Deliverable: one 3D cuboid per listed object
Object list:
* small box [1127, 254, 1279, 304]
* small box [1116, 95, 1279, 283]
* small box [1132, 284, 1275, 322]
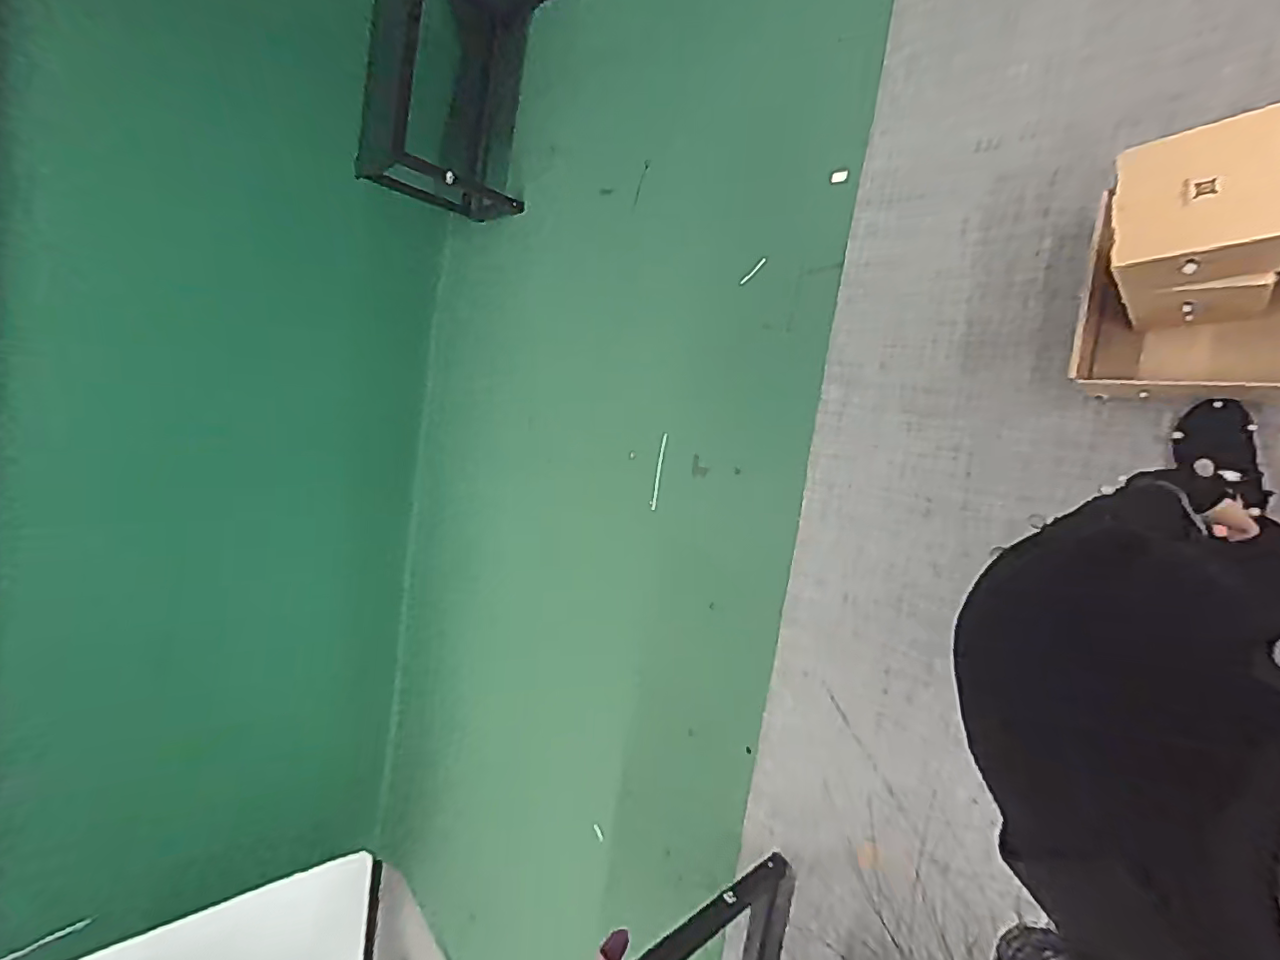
[{"bbox_3d":[0.922,-0.390,0.874,0.168,0.176,0.179,13,99,46],"label":"small box"},{"bbox_3d":[0.802,-0.396,0.765,0.179,0.176,0.168,2,92,47],"label":"small box"},{"bbox_3d":[1.036,-0.397,0.992,0.179,0.176,0.168,7,94,45],"label":"small box"}]
